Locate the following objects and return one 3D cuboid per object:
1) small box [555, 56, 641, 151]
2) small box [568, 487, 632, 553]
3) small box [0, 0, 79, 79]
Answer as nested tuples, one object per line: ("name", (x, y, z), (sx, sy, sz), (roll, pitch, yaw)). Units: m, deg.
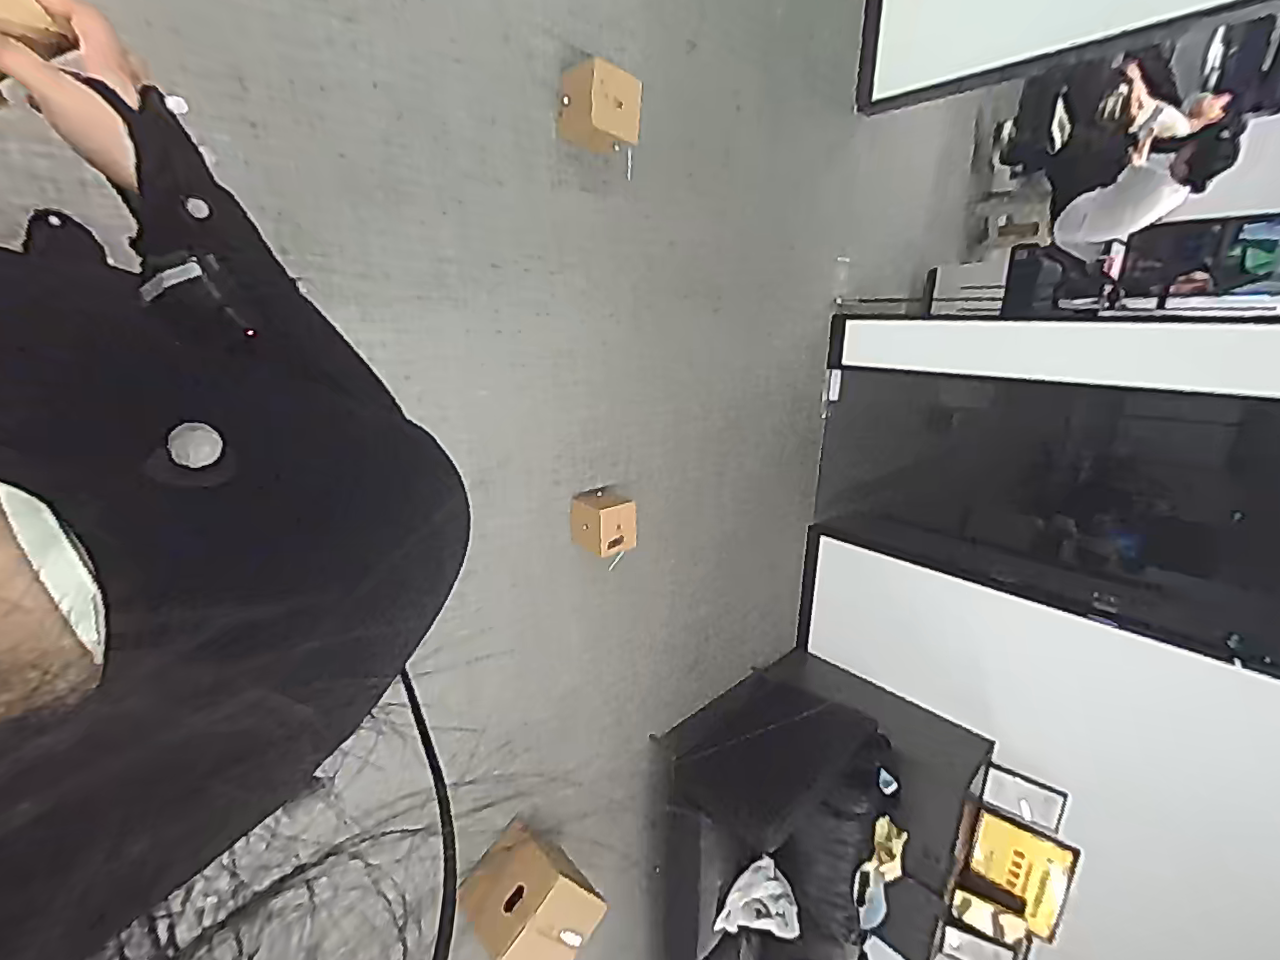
("small box", (-0.123, -1.070, 1.556), (0.179, 0.176, 0.168), (-7, 108, -43))
("small box", (-0.146, 0.139, 1.948), (0.168, 0.176, 0.179), (-13, 112, -41))
("small box", (-0.501, -0.351, 0.306), (0.168, 0.176, 0.179), (-35, 161, -11))
